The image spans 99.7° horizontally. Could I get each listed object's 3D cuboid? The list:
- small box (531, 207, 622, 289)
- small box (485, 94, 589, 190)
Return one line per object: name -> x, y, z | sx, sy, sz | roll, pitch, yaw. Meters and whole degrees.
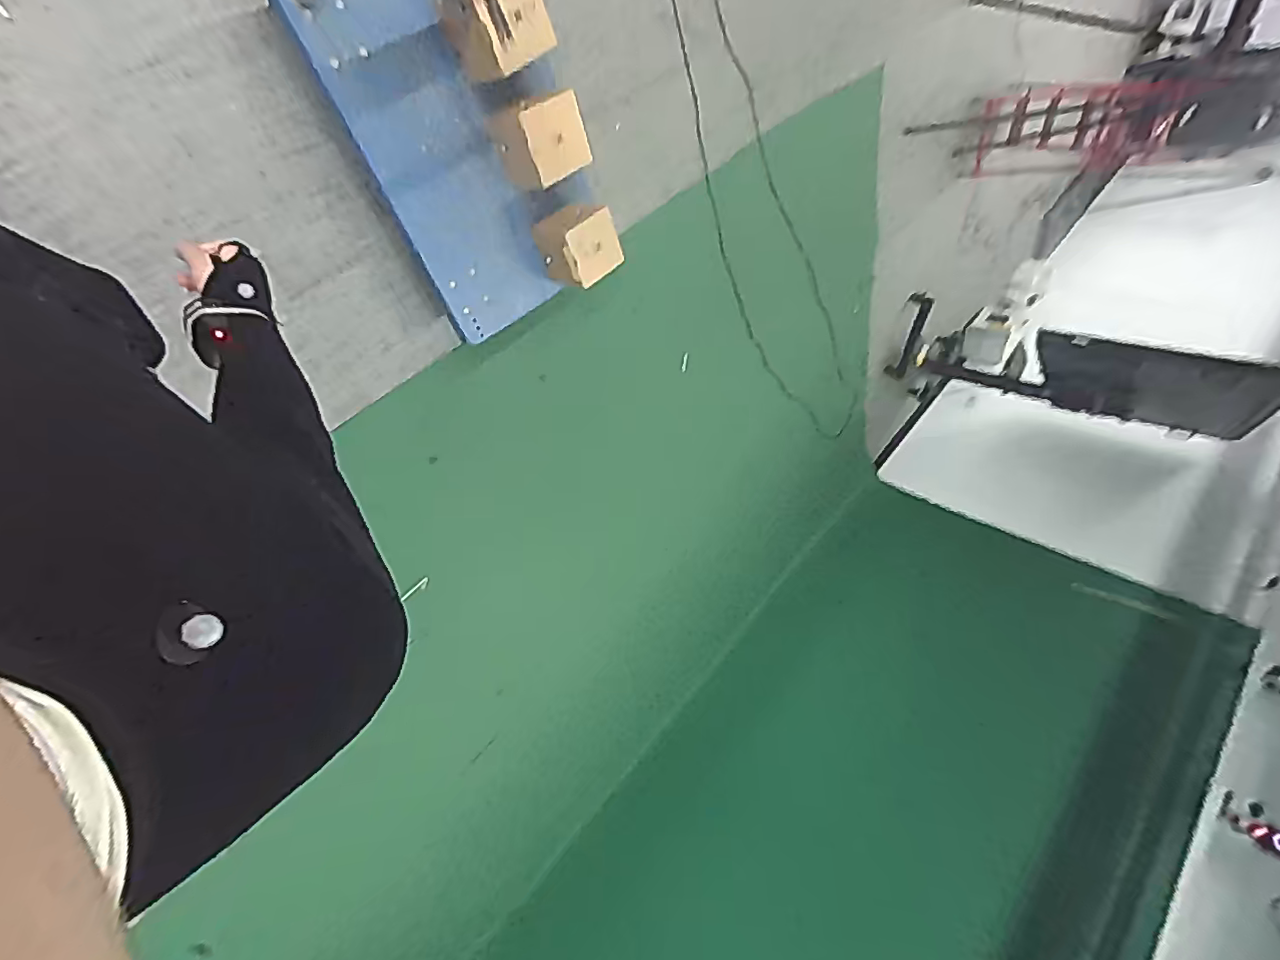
small box -> -0.189, -0.693, 1.601 | 0.179, 0.176, 0.168 | -43, 137, -21
small box -> -0.267, -0.881, 1.409 | 0.179, 0.176, 0.168 | -42, 138, -21
